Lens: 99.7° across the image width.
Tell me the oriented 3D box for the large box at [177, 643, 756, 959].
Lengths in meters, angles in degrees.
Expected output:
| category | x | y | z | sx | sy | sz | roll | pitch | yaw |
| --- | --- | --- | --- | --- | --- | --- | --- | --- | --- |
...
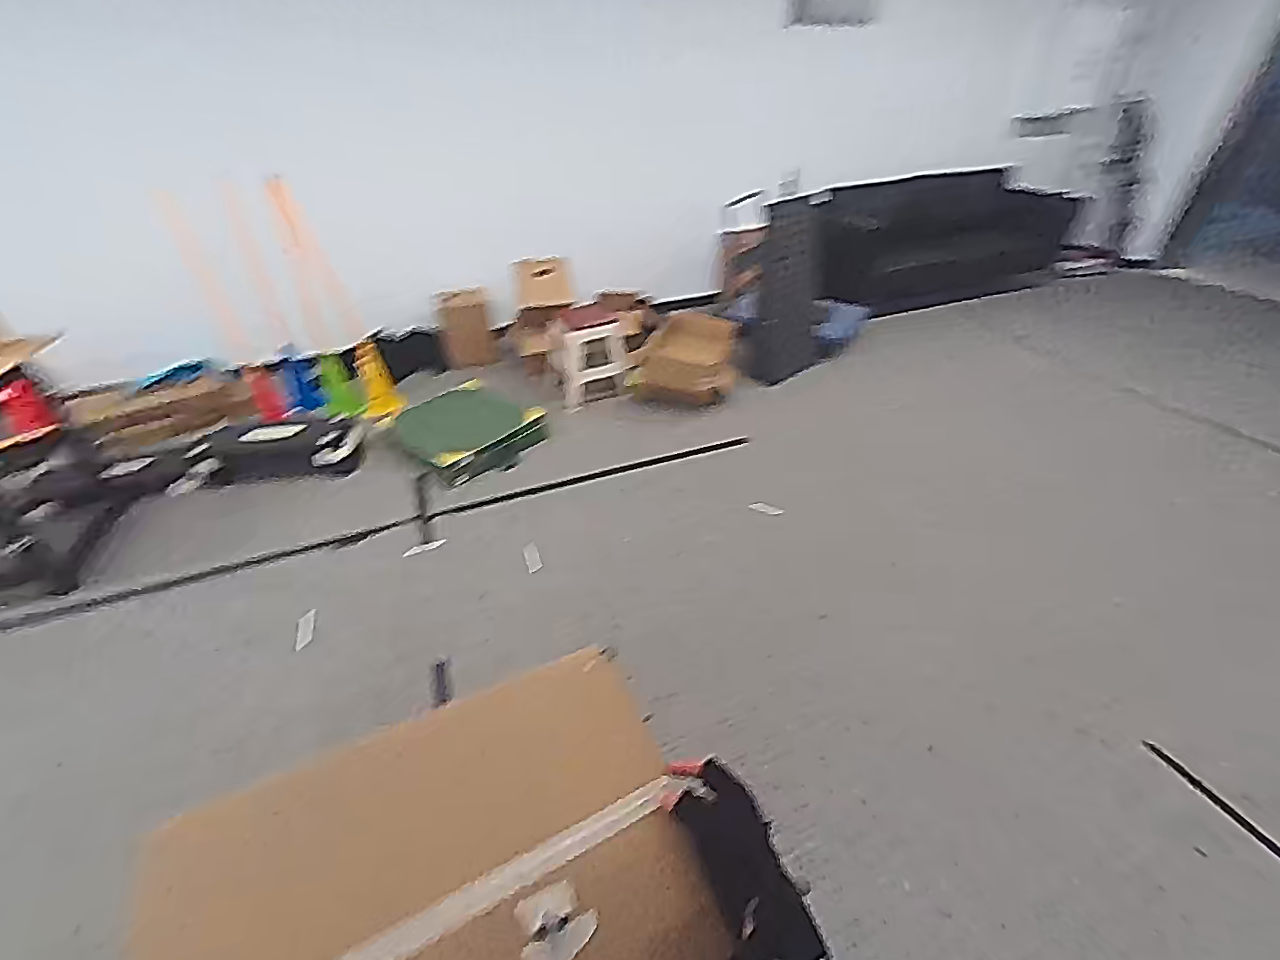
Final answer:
| category | x | y | z | sx | sy | sz | roll | pitch | yaw |
| --- | --- | --- | --- | --- | --- | --- | --- | --- | --- |
| large box | -0.165 | 0.438 | 0.555 | 0.408 | 0.320 | 0.320 | -15 | 55 | -24 |
